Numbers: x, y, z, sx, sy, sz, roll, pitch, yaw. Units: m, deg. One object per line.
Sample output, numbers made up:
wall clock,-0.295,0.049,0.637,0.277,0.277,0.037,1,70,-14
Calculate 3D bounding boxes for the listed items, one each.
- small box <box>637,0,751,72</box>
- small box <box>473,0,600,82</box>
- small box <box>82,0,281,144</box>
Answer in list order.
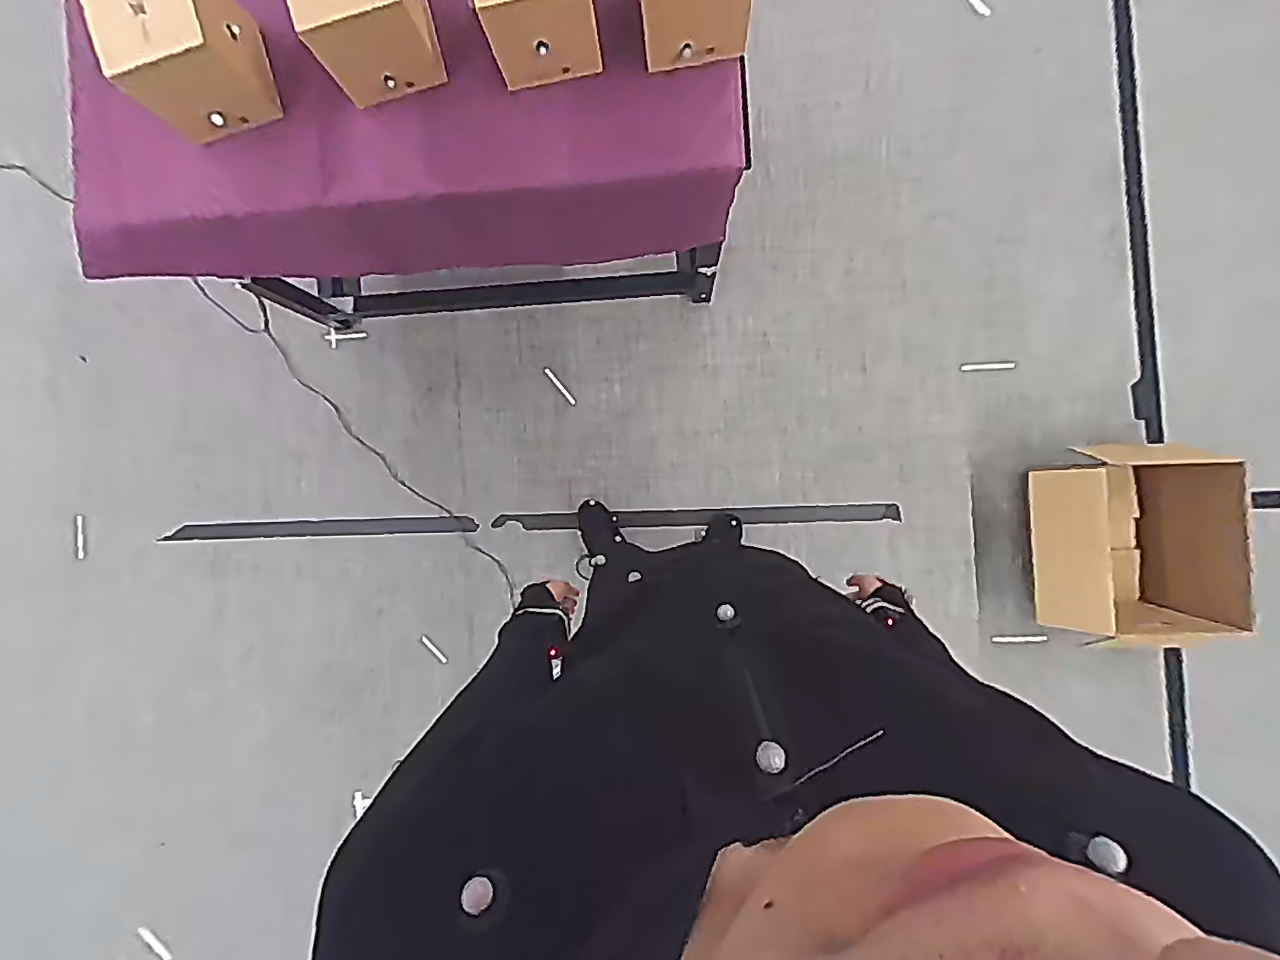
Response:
small box,0.075,-0.781,0.828,0.168,0.176,0.179,-8,89,5
small box,-0.163,-0.763,0.842,0.168,0.176,0.179,-9,89,3
small box,-0.731,-0.695,0.875,0.168,0.176,0.179,-17,90,3
